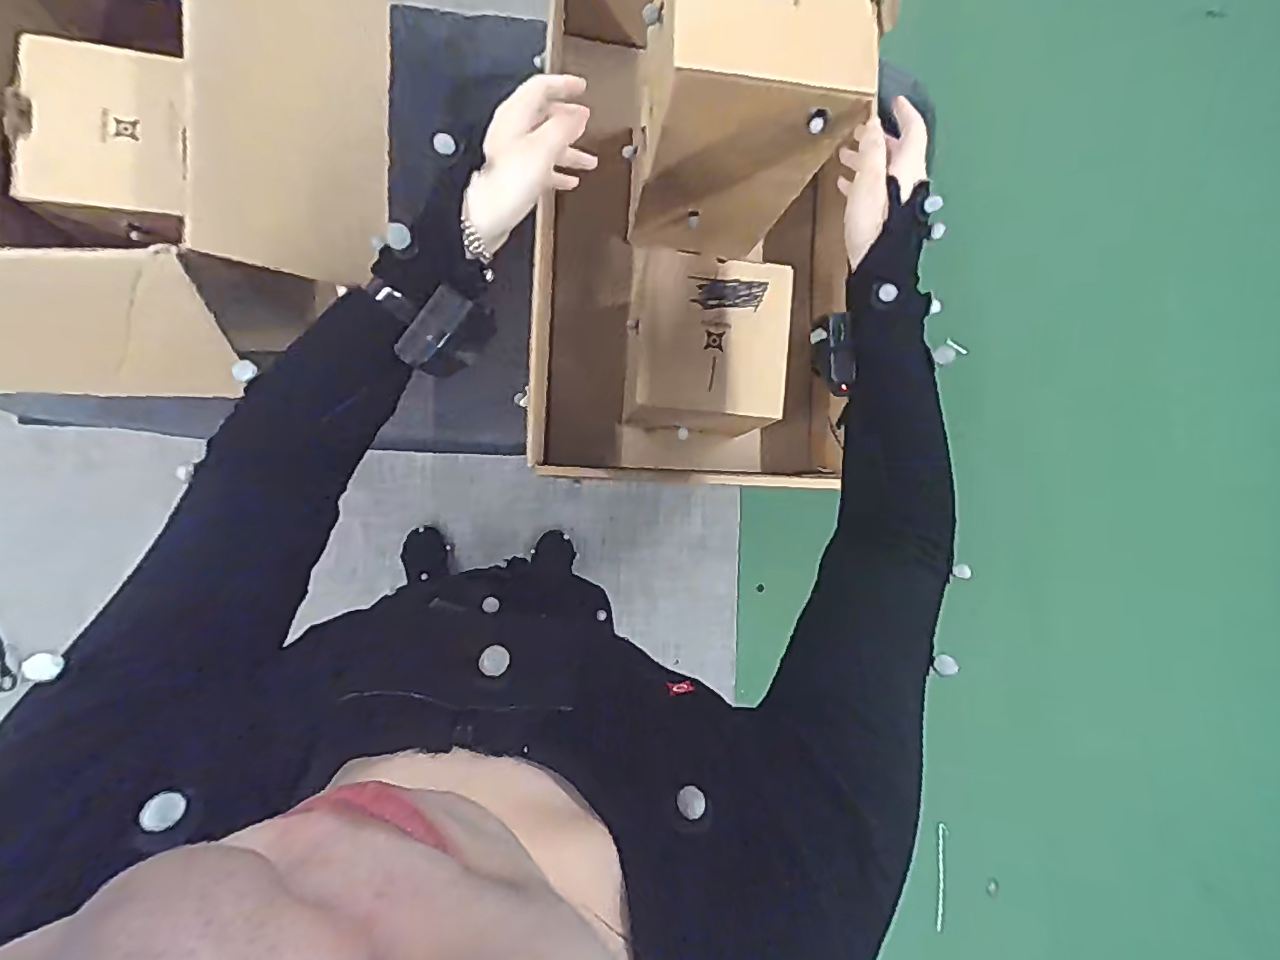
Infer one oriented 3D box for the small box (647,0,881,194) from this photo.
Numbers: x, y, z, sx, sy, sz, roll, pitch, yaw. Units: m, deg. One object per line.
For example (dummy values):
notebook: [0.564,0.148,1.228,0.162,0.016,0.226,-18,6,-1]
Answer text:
small box: [0.104,-0.400,0.517,0.179,0.176,0.168,1,90,-9]
